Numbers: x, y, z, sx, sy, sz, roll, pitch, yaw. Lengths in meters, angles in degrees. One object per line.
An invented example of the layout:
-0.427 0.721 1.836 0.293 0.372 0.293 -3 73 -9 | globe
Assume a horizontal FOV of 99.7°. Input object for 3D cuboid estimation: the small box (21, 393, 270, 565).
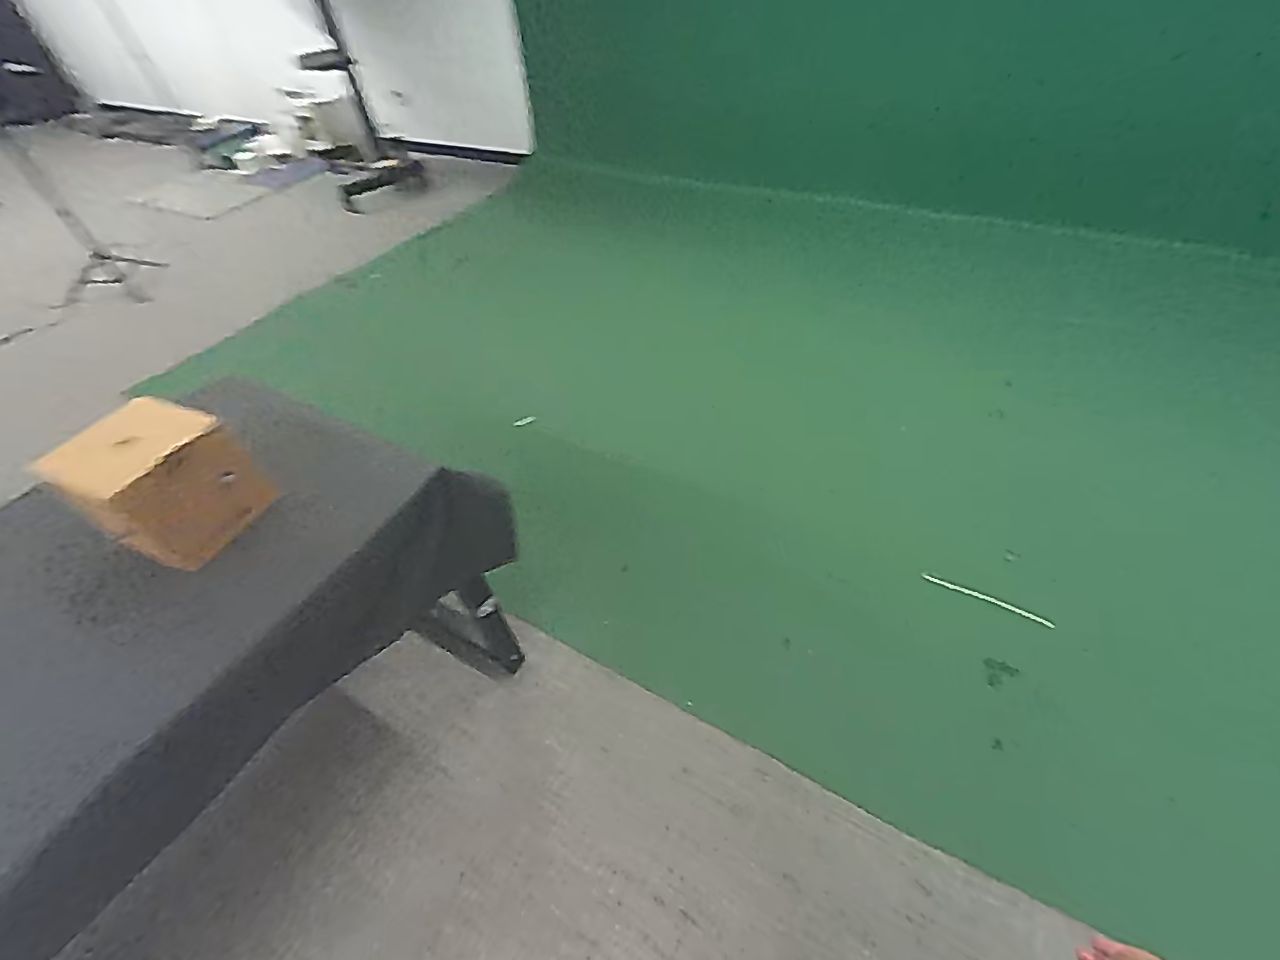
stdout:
-0.701 0.001 0.792 0.179 0.176 0.168 14 49 18 | small box
